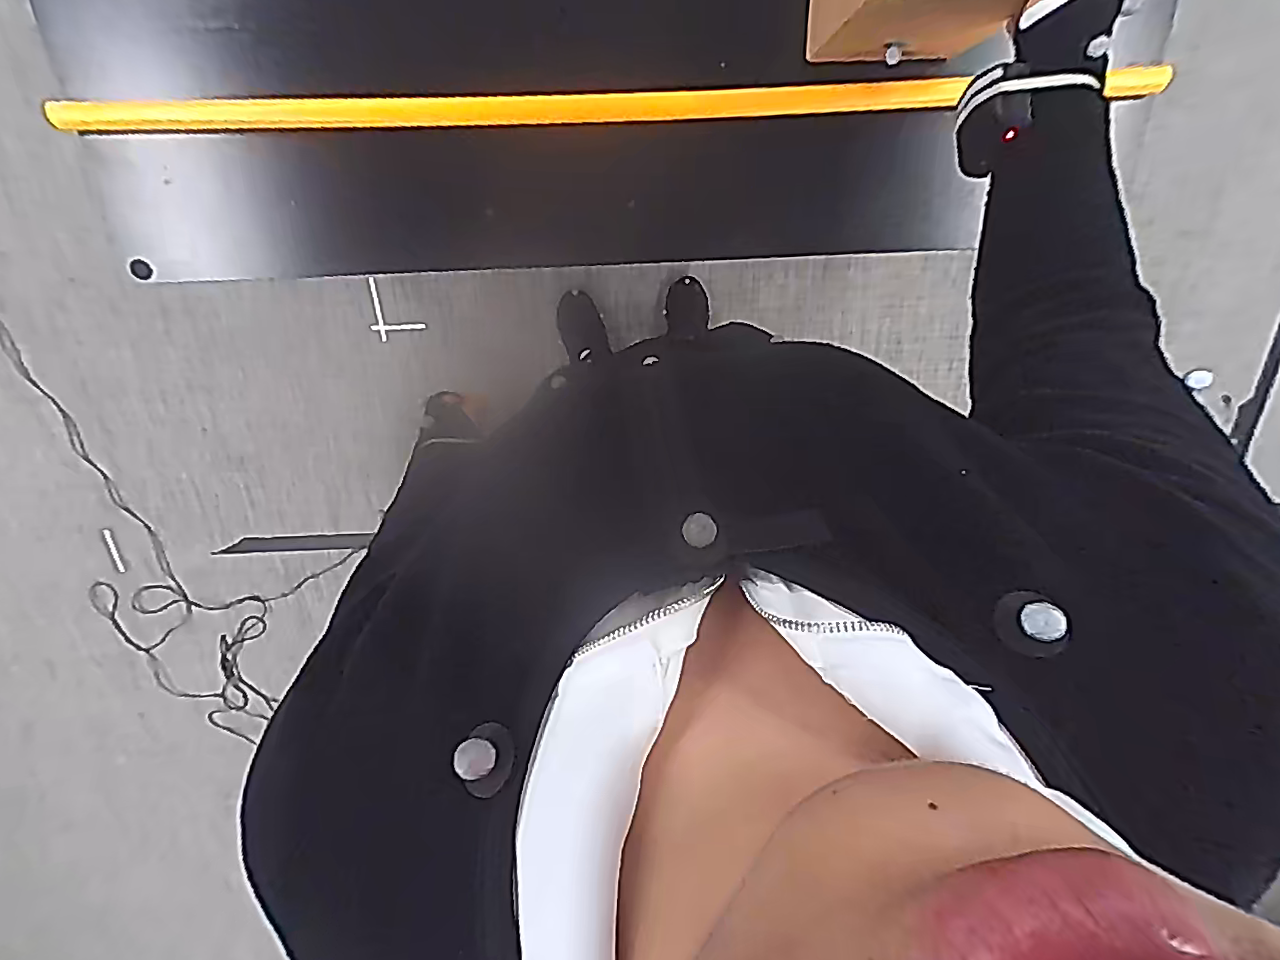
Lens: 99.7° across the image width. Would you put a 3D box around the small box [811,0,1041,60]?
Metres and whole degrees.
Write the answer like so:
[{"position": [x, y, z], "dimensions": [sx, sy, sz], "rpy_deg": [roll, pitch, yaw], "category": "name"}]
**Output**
[{"position": [0.268, -0.520, 0.494], "dimensions": [0.168, 0.176, 0.179], "rpy_deg": [-2, 112, -2], "category": "small box"}]
